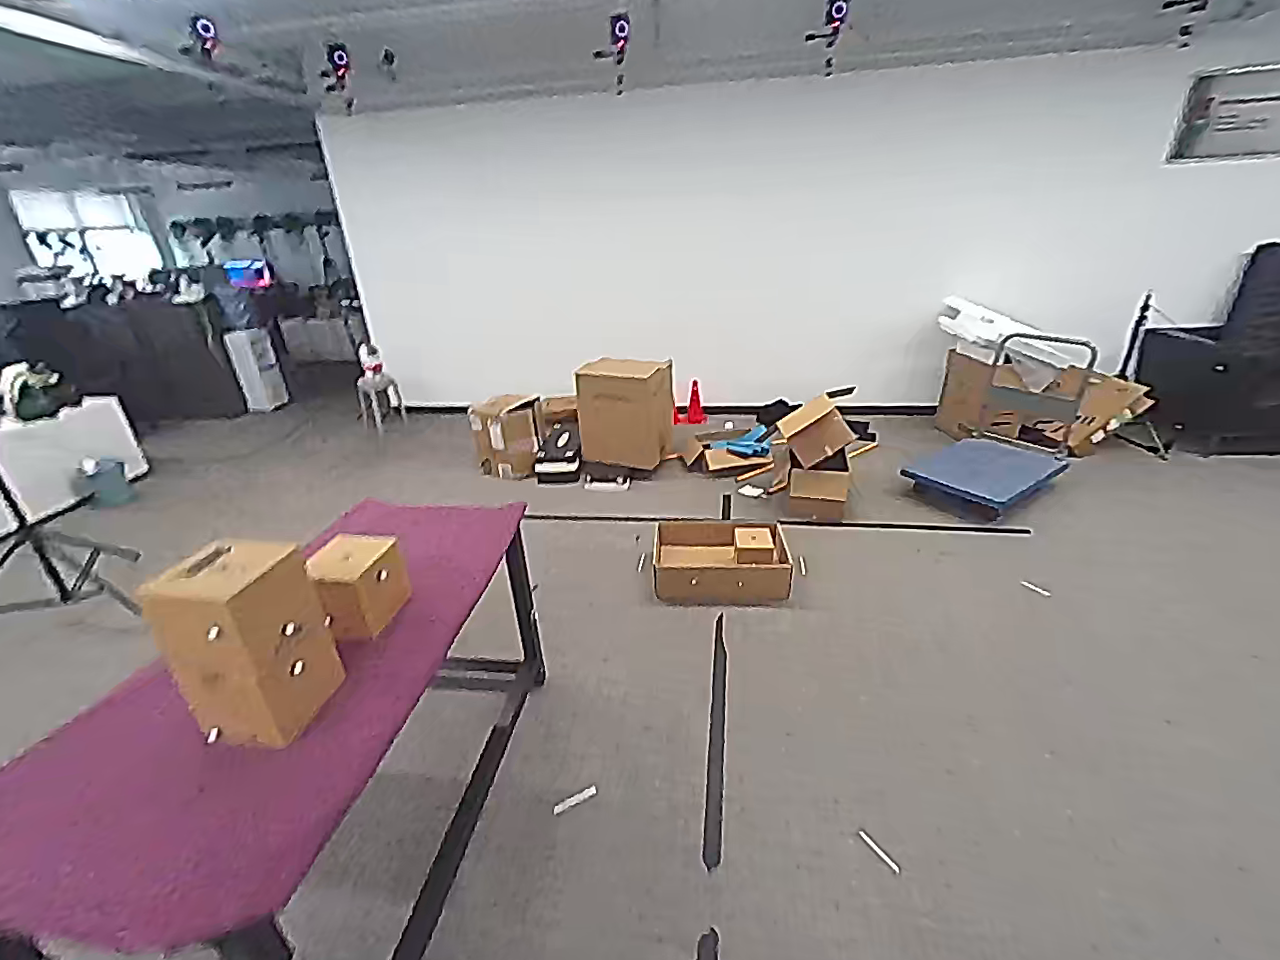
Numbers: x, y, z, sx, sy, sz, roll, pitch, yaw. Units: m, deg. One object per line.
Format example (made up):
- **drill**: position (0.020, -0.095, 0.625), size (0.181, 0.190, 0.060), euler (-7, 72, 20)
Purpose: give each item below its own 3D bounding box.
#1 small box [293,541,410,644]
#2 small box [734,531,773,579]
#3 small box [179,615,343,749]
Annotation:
- **small box**: position (-0.673, 0.264, 1.288), size (0.168, 0.176, 0.179), euler (1, 26, 9)
- **small box**: position (0.536, 0.355, 2.554), size (0.168, 0.176, 0.179), euler (0, 24, 5)
- **small box**: position (-0.704, 0.383, 1.031), size (0.168, 0.176, 0.179), euler (1, 24, 8)
